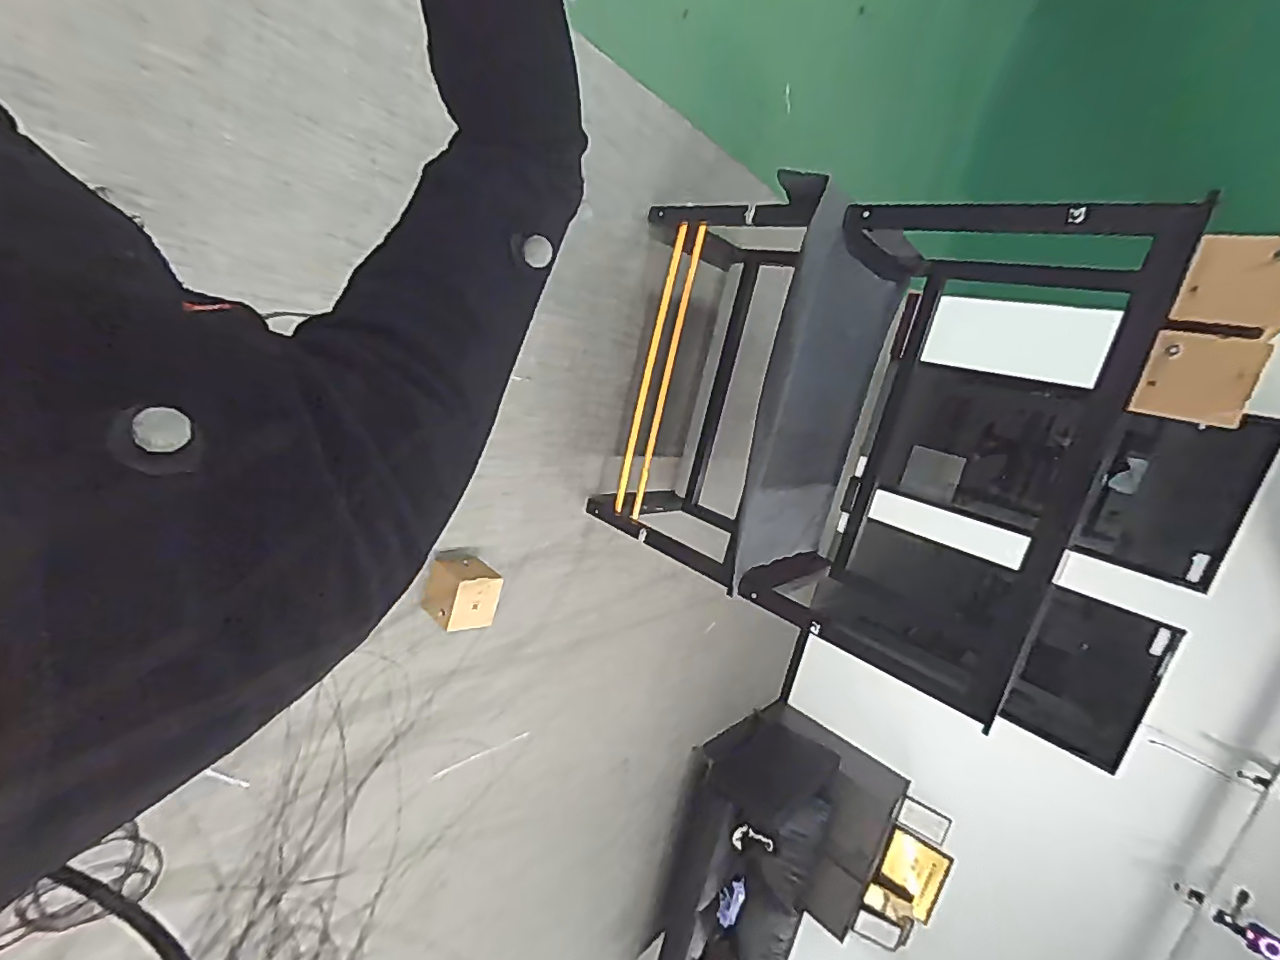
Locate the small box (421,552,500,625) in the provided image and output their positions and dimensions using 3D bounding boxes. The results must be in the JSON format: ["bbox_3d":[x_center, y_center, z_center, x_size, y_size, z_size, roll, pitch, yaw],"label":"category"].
[{"bbox_3d":[-0.592,0.350,1.770,0.168,0.176,0.179,7,103,-50],"label":"small box"}]
